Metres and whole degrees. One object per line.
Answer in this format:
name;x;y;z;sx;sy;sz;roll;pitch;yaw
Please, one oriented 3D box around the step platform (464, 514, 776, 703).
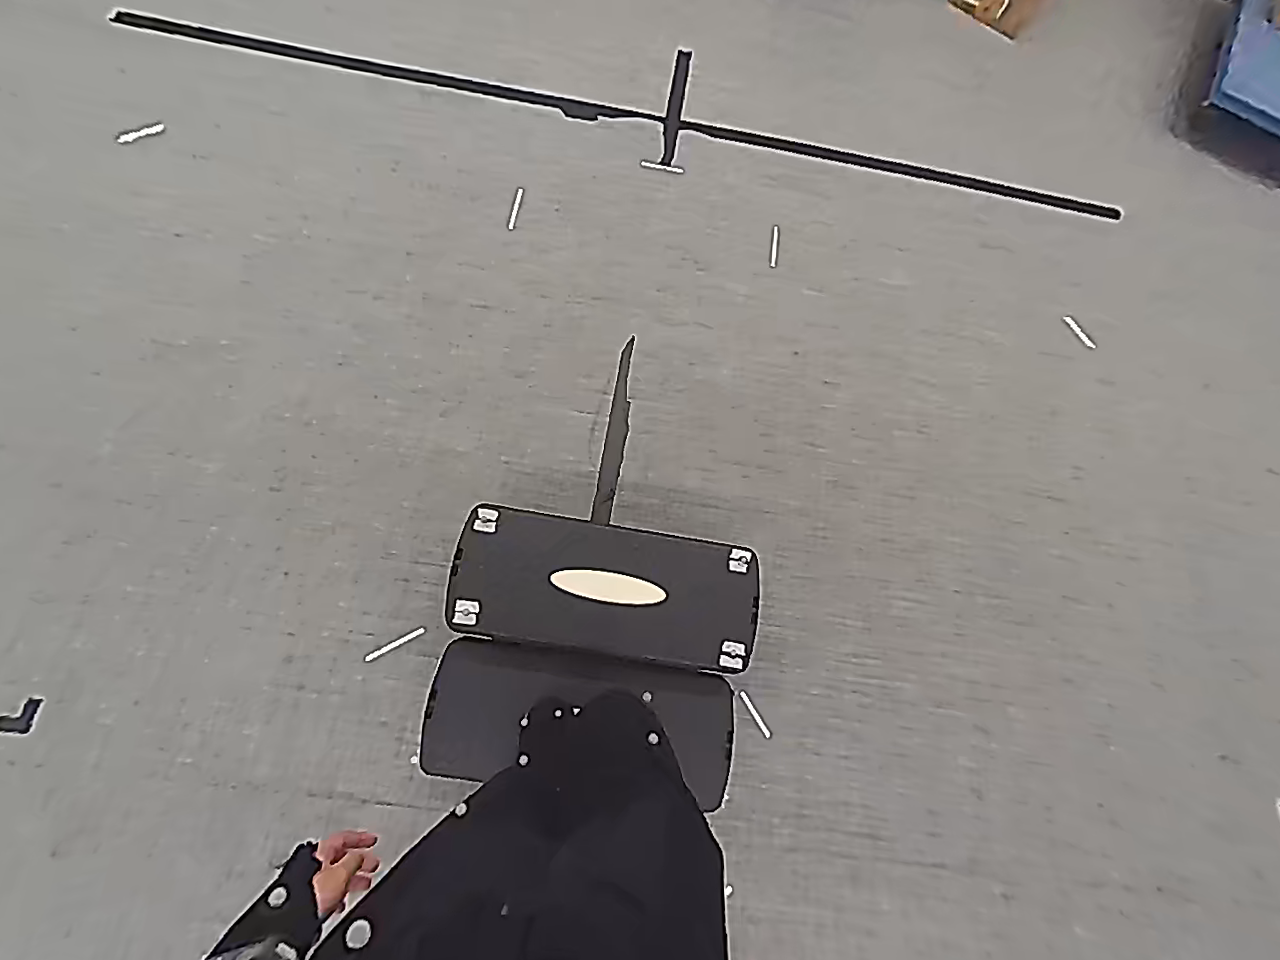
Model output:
step platform;-0.041;0.293;1.238;0.684;0.204;0.286;14;71;-3
